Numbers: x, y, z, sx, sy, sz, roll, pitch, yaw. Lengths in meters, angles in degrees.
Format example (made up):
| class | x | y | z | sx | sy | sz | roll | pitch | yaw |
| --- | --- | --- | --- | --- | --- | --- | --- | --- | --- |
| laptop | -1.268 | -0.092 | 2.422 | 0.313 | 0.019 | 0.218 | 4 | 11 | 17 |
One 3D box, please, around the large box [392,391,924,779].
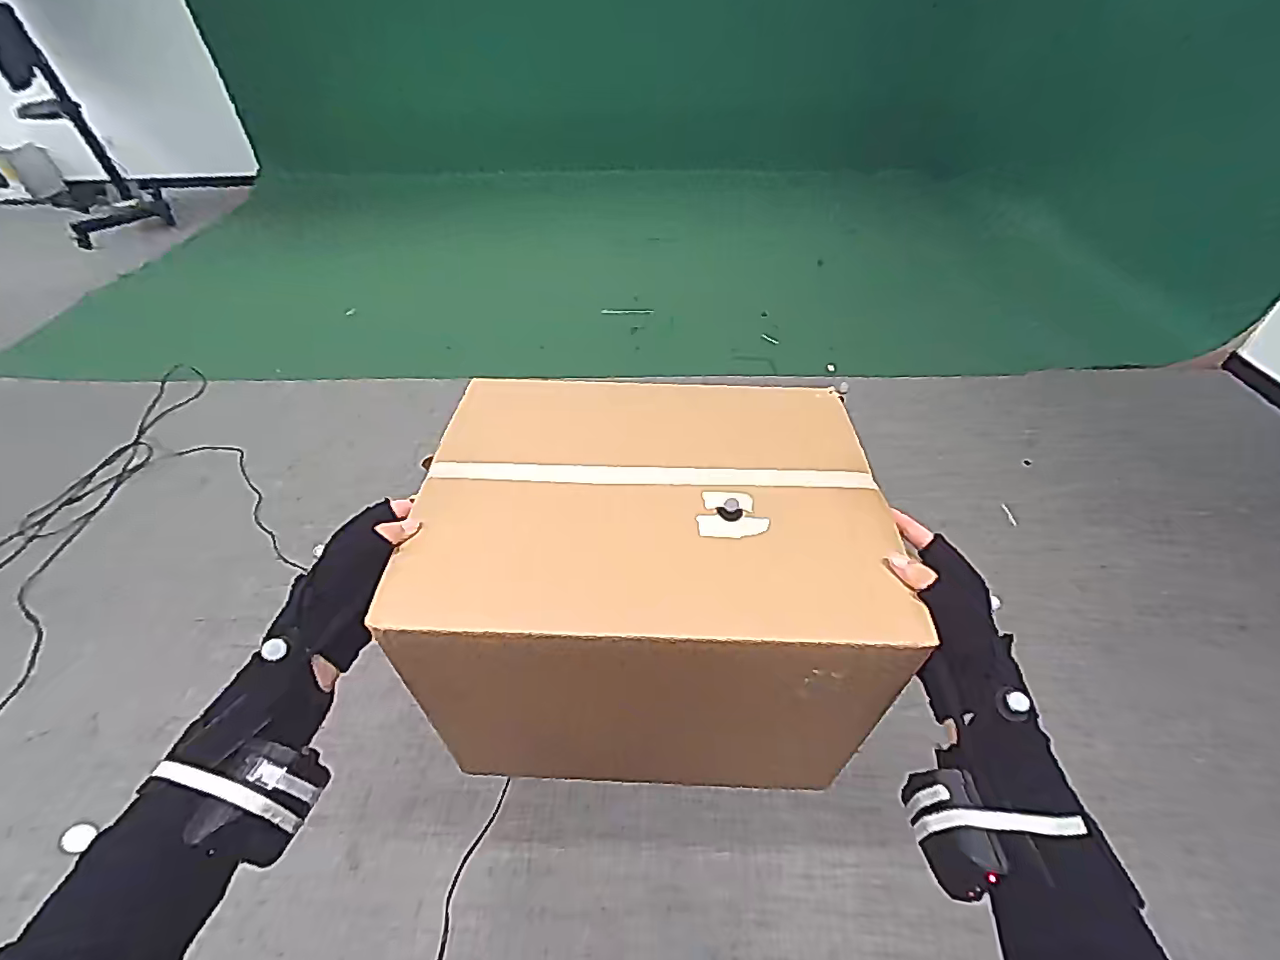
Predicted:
| class | x | y | z | sx | sy | sz | roll | pitch | yaw |
| --- | --- | --- | --- | --- | --- | --- | --- | --- | --- |
| large box | 0.011 | 0.117 | 0.605 | 0.408 | 0.320 | 0.320 | 2 | 44 | 0 |
